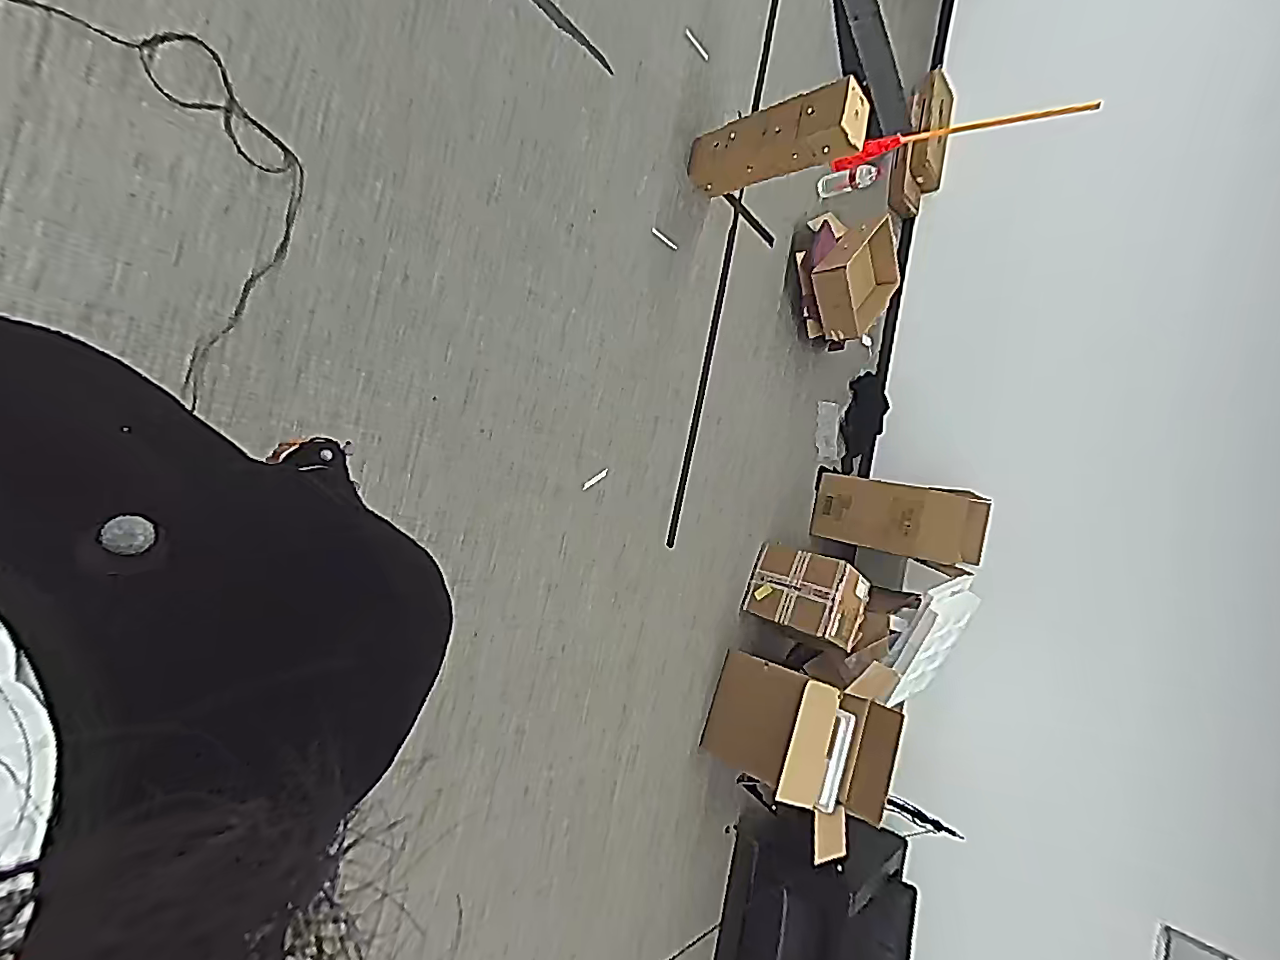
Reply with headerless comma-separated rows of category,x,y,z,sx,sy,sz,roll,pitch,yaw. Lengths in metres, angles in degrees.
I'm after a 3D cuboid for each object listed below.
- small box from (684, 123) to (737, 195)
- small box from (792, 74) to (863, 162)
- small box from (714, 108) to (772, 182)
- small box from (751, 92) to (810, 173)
small box,0.304,-1.322,2.240,0.168,0.176,0.179,15,85,-46
small box,0.655,-1.261,1.902,0.168,0.176,0.179,14,88,-46
small box,0.418,-1.303,2.123,0.179,0.176,0.168,15,85,-46
small box,0.535,-1.282,2.013,0.179,0.176,0.168,14,87,-47
